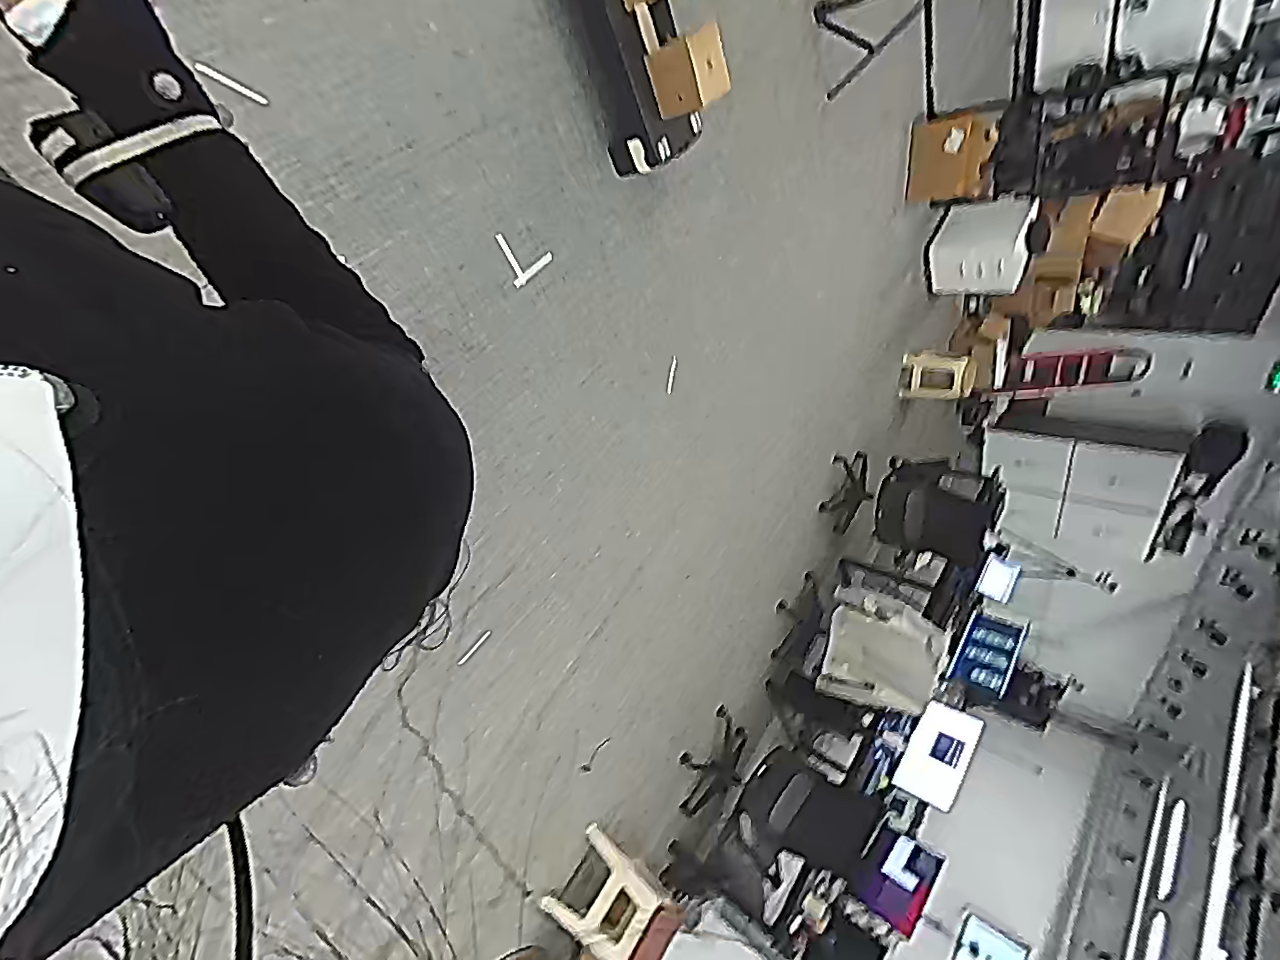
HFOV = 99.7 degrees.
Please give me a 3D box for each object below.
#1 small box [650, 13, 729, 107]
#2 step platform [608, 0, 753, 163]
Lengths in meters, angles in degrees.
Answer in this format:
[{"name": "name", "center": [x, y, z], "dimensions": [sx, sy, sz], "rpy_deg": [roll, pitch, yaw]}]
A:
[{"name": "small box", "center": [0.138, -1.253, 1.632], "dimensions": [0.168, 0.176, 0.179], "rpy_deg": [-51, 134, -25]}, {"name": "step platform", "center": [0.093, -1.289, 1.515], "dimensions": [0.286, 0.204, 0.684], "rpy_deg": [-51, 135, -24]}]
